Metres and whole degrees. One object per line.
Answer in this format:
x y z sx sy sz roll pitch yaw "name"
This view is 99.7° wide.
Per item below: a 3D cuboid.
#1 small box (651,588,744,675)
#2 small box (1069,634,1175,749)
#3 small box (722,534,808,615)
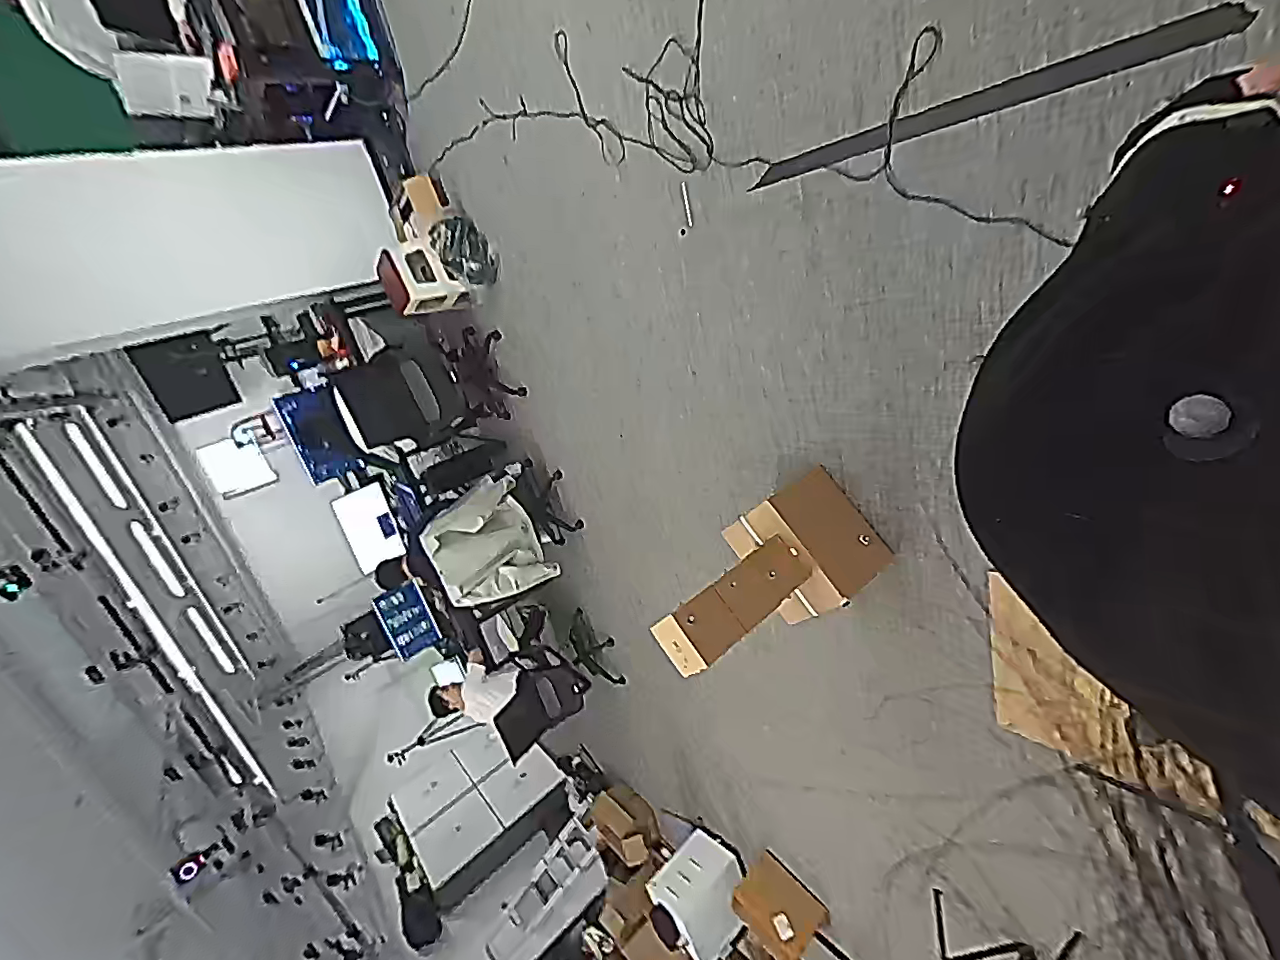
0.167 0.437 1.585 0.179 0.176 0.168 54 147 13 "small box"
1.215 0.521 1.363 0.168 0.176 0.179 16 126 46 "small box"
0.411 0.306 1.764 0.179 0.176 0.168 54 146 14 "small box"
